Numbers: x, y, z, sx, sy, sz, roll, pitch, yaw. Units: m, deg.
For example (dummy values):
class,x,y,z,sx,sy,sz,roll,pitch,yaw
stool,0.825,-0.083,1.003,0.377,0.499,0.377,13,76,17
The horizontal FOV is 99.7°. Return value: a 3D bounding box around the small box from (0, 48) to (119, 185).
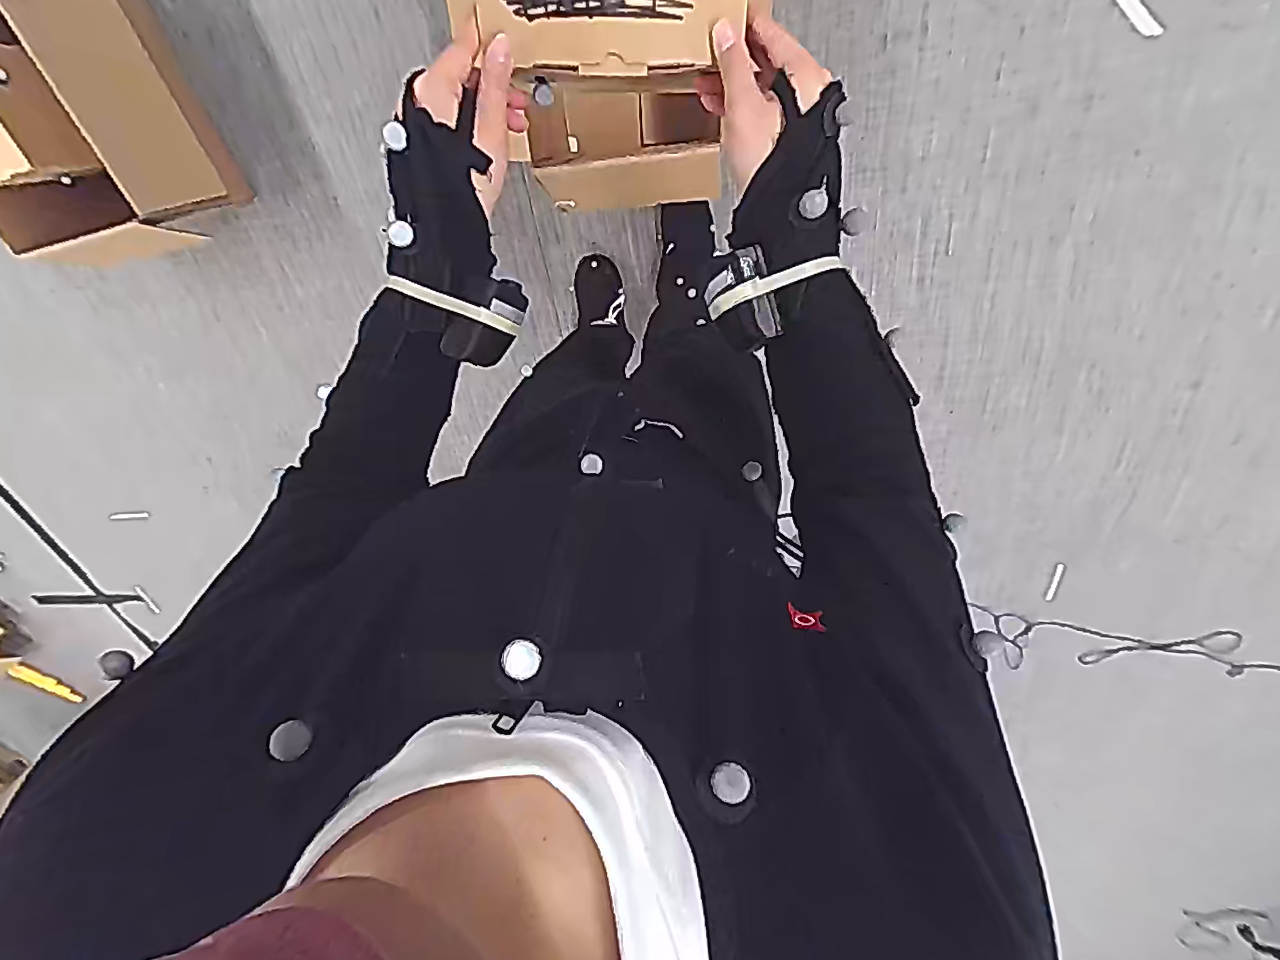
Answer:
class,x,y,z,sx,sy,sz,roll,pitch,yaw
small box,-1.083,-0.619,0.928,0.168,0.176,0.179,-6,123,12
